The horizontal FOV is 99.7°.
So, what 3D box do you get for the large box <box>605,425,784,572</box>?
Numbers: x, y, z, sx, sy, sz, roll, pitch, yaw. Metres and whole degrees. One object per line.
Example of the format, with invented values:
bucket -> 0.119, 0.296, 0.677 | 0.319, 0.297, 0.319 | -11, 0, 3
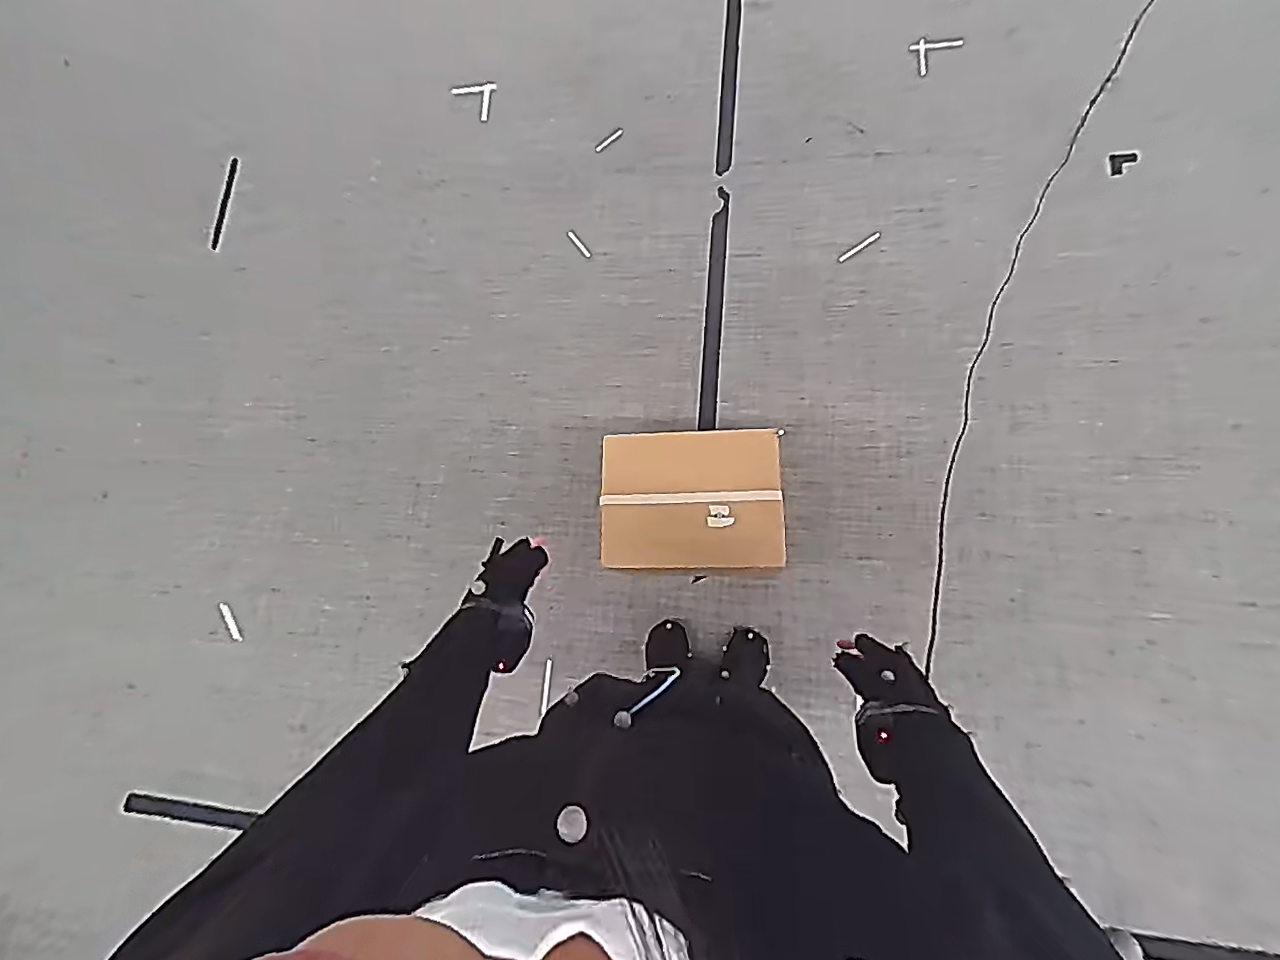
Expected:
large box -> 0.136, 0.063, 1.371 | 0.408, 0.320, 0.320 | -1, 77, 8
